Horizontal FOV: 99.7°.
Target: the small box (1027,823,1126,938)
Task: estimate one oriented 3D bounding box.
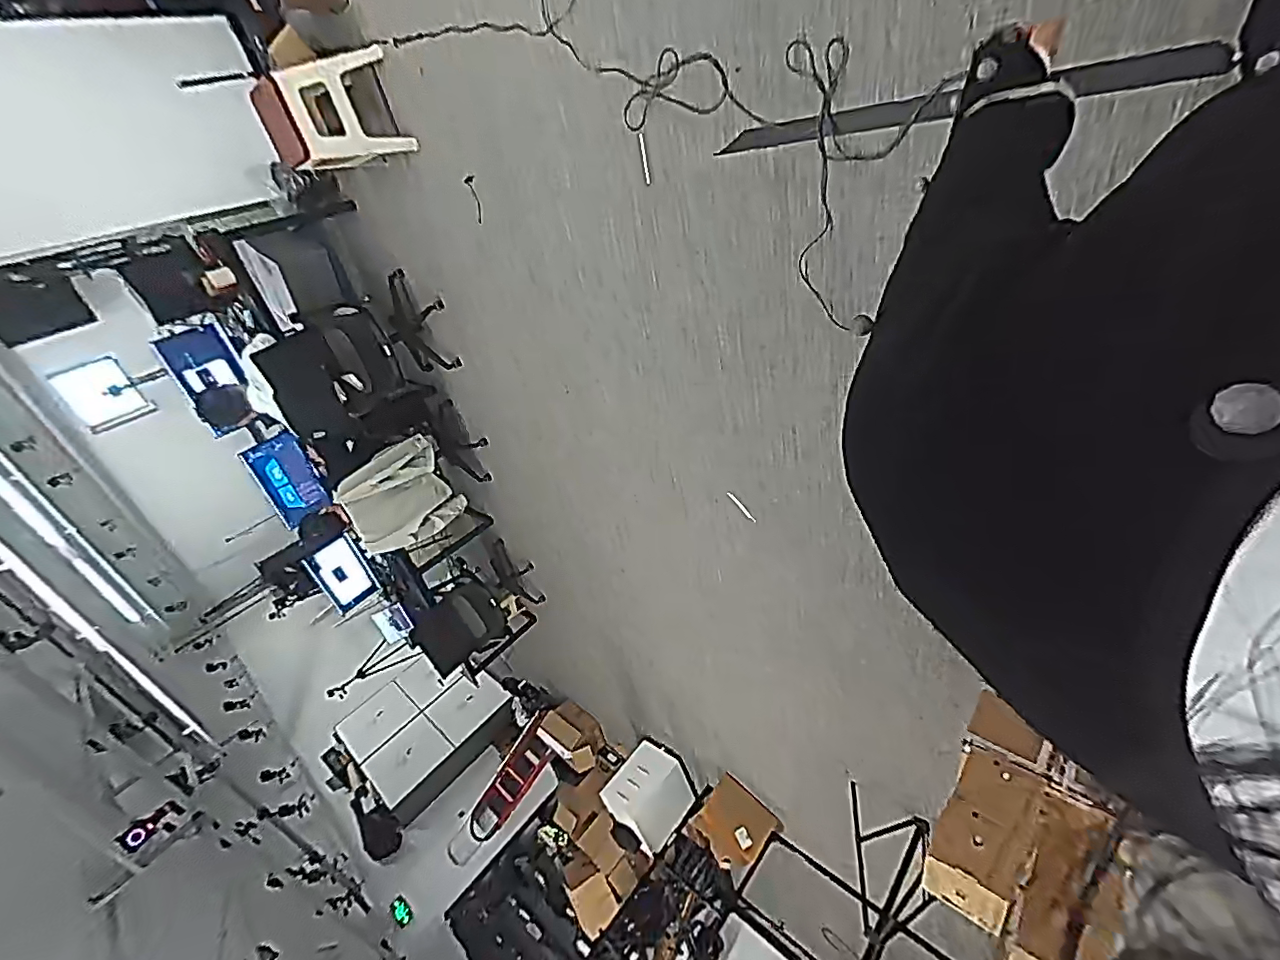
[{"bbox_3d":[1.069,1.004,1.335,0.168,0.176,0.179,16,130,39],"label":"small box"}]

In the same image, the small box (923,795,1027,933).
[{"bbox_3d":[0.789,0.893,1.273,0.168,0.176,0.179,17,131,41],"label":"small box"}]

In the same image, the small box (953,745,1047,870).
[{"bbox_3d":[0.903,0.819,1.365,0.168,0.176,0.179,15,129,41],"label":"small box"}]

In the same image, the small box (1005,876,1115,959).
[{"bbox_3d":[0.956,1.066,1.233,0.168,0.176,0.179,14,129,39],"label":"small box"}]
